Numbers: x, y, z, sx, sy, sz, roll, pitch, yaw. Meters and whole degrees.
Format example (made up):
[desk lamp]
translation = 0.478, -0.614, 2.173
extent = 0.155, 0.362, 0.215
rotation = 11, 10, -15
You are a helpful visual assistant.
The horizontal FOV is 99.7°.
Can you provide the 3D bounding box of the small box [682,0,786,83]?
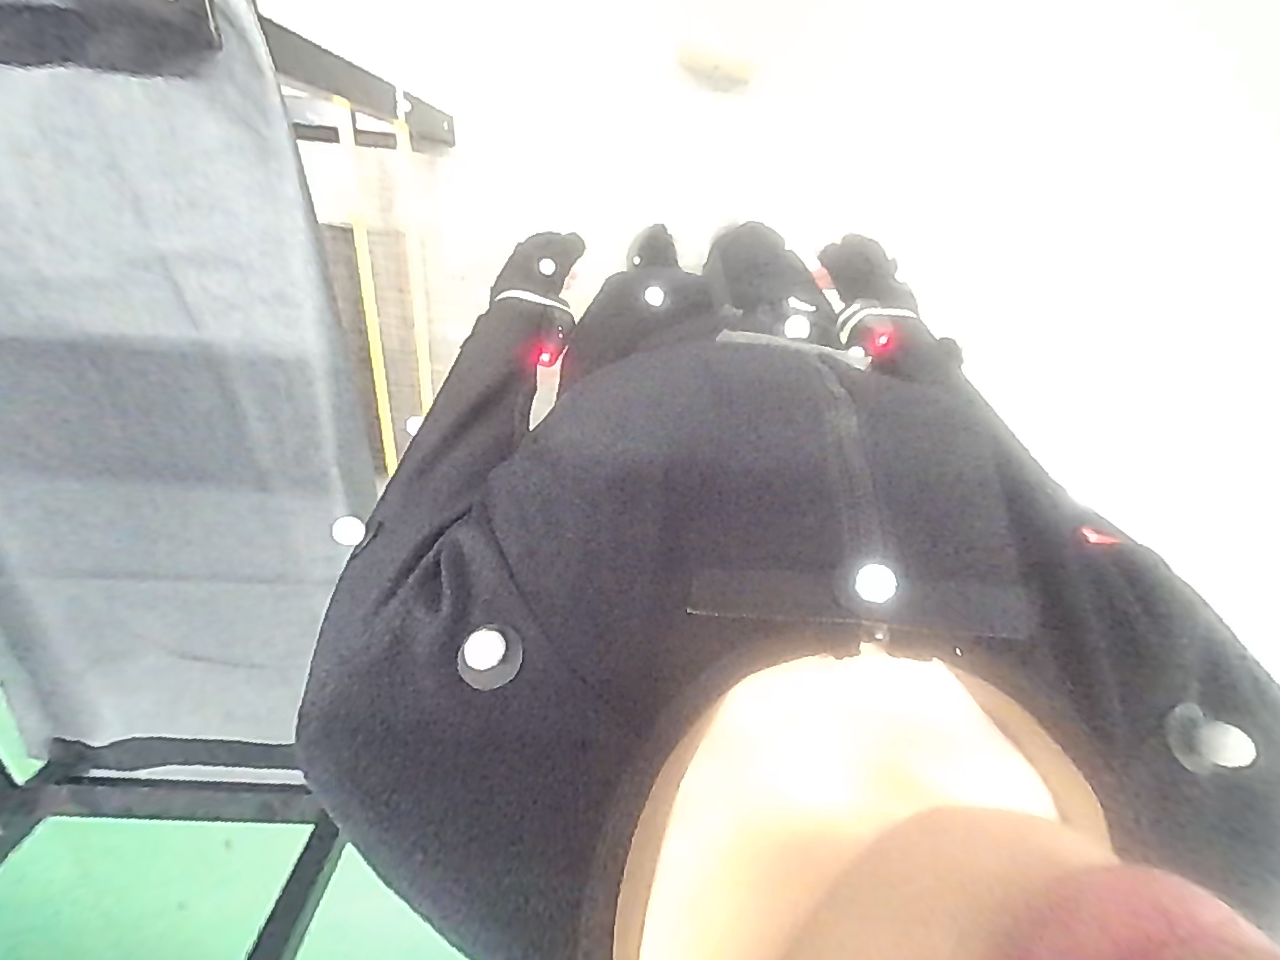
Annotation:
[small box]
translation = 0.179, -0.900, 1.037
extent = 0.168, 0.176, 0.179
rotation = 10, 116, -5
